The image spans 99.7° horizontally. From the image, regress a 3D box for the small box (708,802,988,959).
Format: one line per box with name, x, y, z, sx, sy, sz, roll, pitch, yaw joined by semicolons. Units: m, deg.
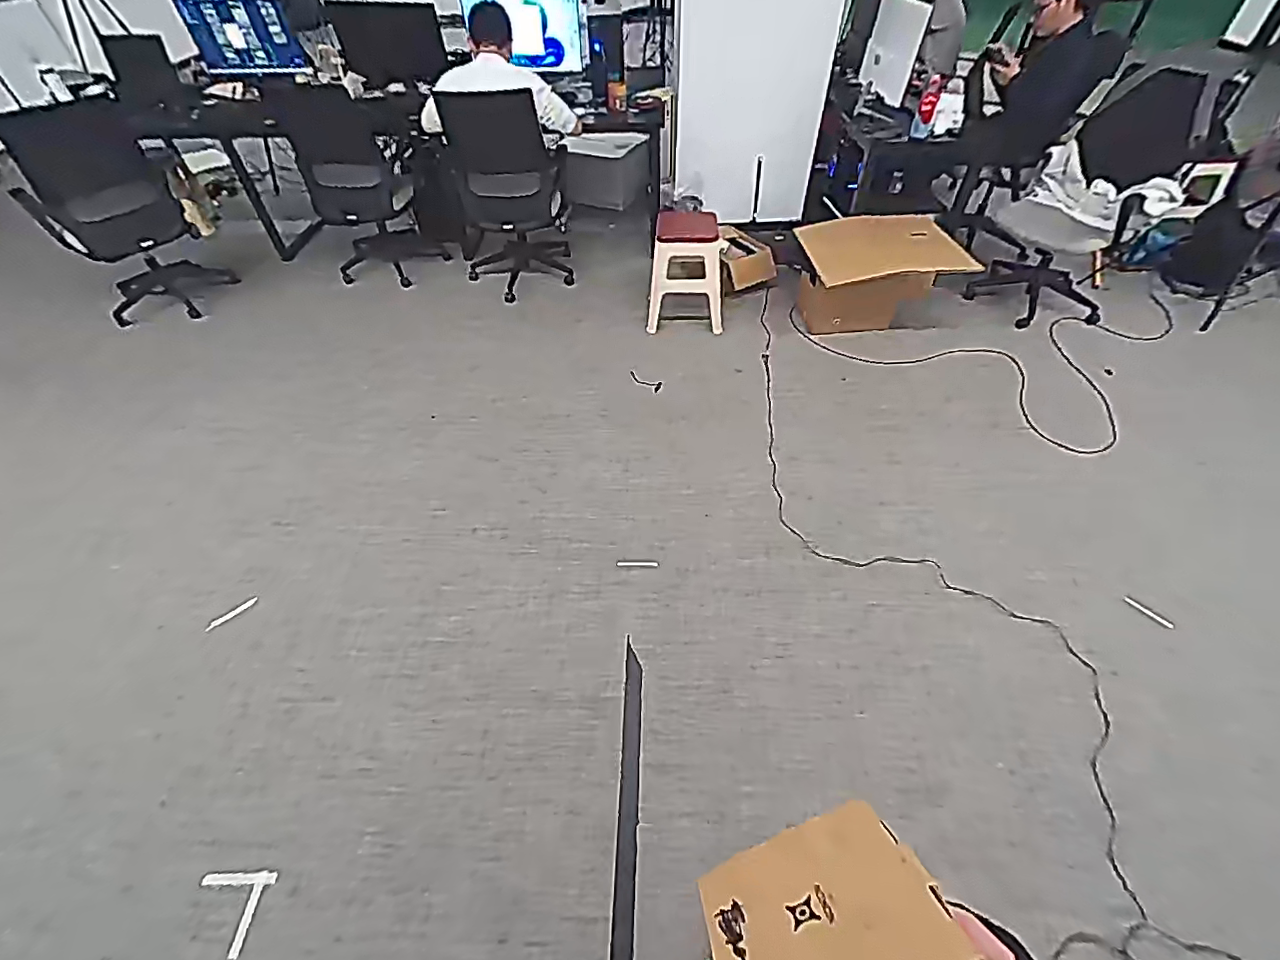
small box;0.178;0.419;0.439;0.179;0.168;0.176;-24;92;-2
